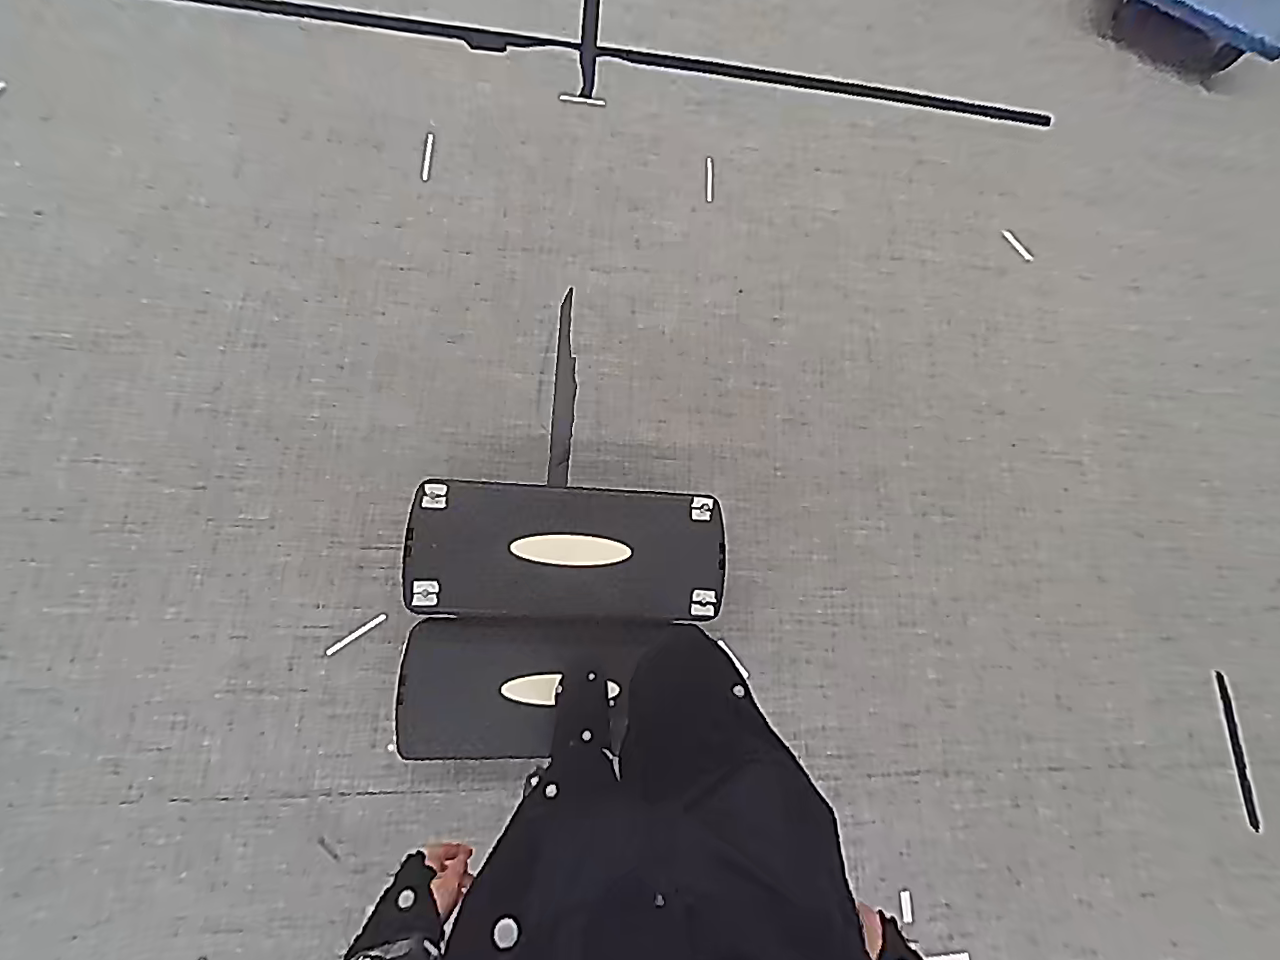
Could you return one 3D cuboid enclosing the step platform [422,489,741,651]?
[{"bbox_3d":[-0.119,0.207,1.210,0.684,0.204,0.286,8,74,-7],"label":"step platform"}]
